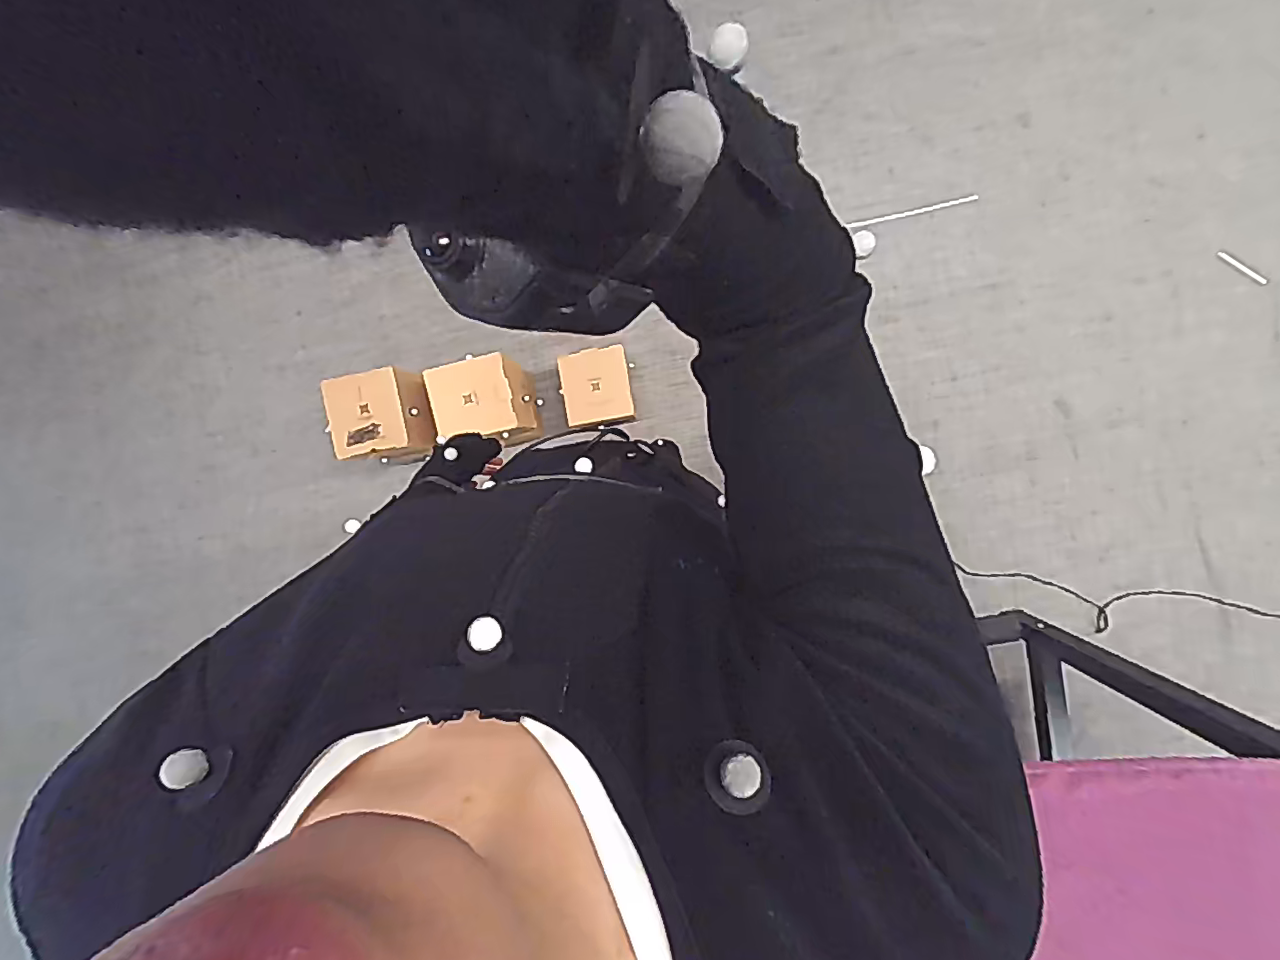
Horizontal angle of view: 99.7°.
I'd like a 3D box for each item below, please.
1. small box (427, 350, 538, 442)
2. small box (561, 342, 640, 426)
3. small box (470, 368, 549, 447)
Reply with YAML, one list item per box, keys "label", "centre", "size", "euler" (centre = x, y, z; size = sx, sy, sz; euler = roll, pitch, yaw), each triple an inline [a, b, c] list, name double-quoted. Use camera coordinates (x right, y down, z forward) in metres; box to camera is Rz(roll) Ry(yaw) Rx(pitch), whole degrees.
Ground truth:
- label: "small box"
  centre: [-0.351, -0.182, 1.229]
  size: [0.179, 0.176, 0.168]
  euler: [-13, 94, 3]
- label: "small box"
  centre: [-0.096, -0.238, 1.380]
  size: [0.168, 0.176, 0.179]
  euler: [-10, 94, 3]
- label: "small box"
  centre: [-0.347, -0.186, 1.392]
  size: [0.168, 0.176, 0.179]
  euler: [-12, 92, 5]
